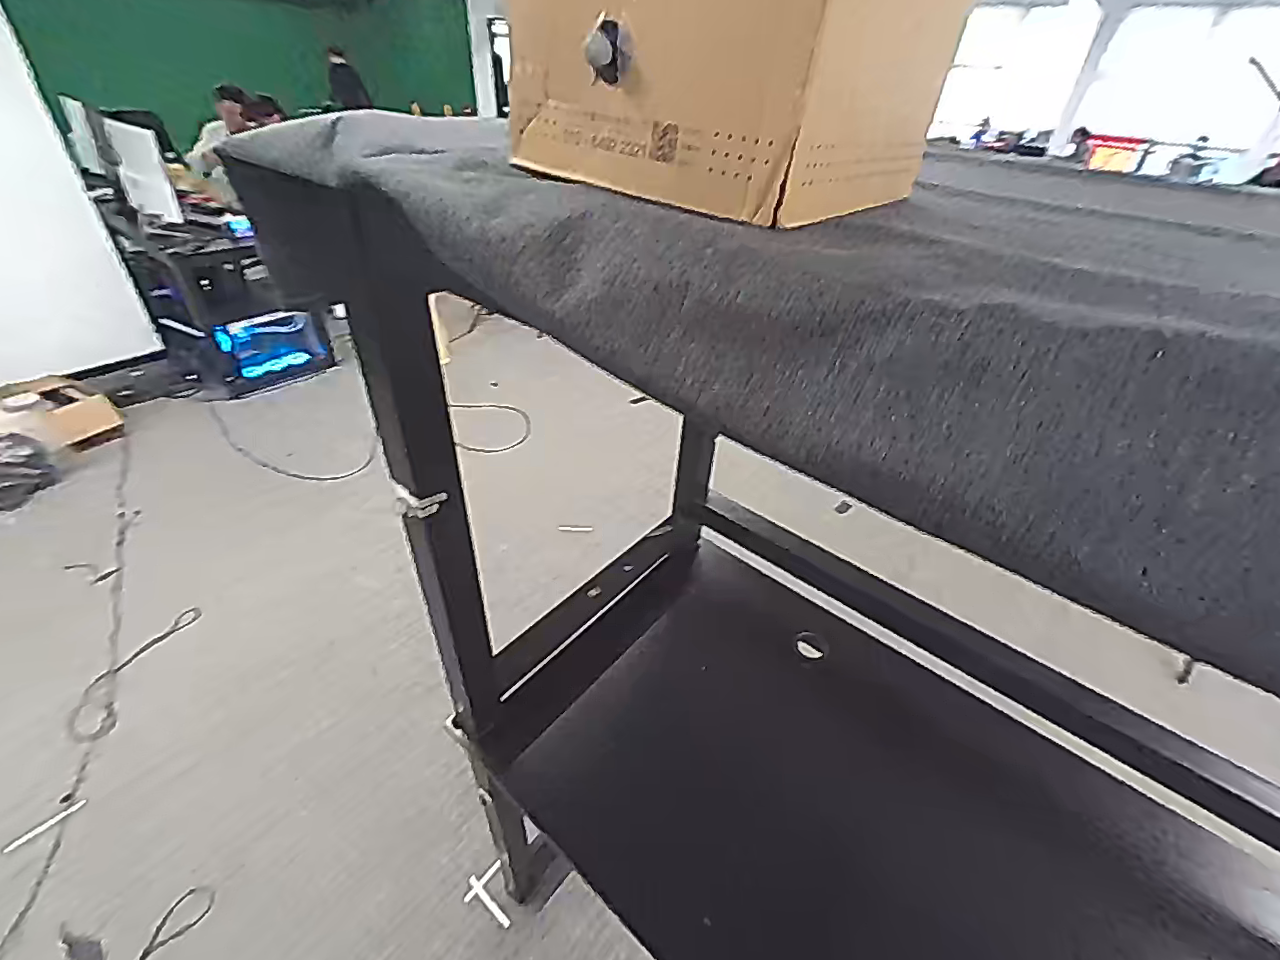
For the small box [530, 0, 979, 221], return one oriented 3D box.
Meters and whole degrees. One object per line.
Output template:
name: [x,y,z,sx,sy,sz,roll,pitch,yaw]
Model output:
small box: [0.058,-0.239,0.264,0.168,0.176,0.179,29,42,28]
